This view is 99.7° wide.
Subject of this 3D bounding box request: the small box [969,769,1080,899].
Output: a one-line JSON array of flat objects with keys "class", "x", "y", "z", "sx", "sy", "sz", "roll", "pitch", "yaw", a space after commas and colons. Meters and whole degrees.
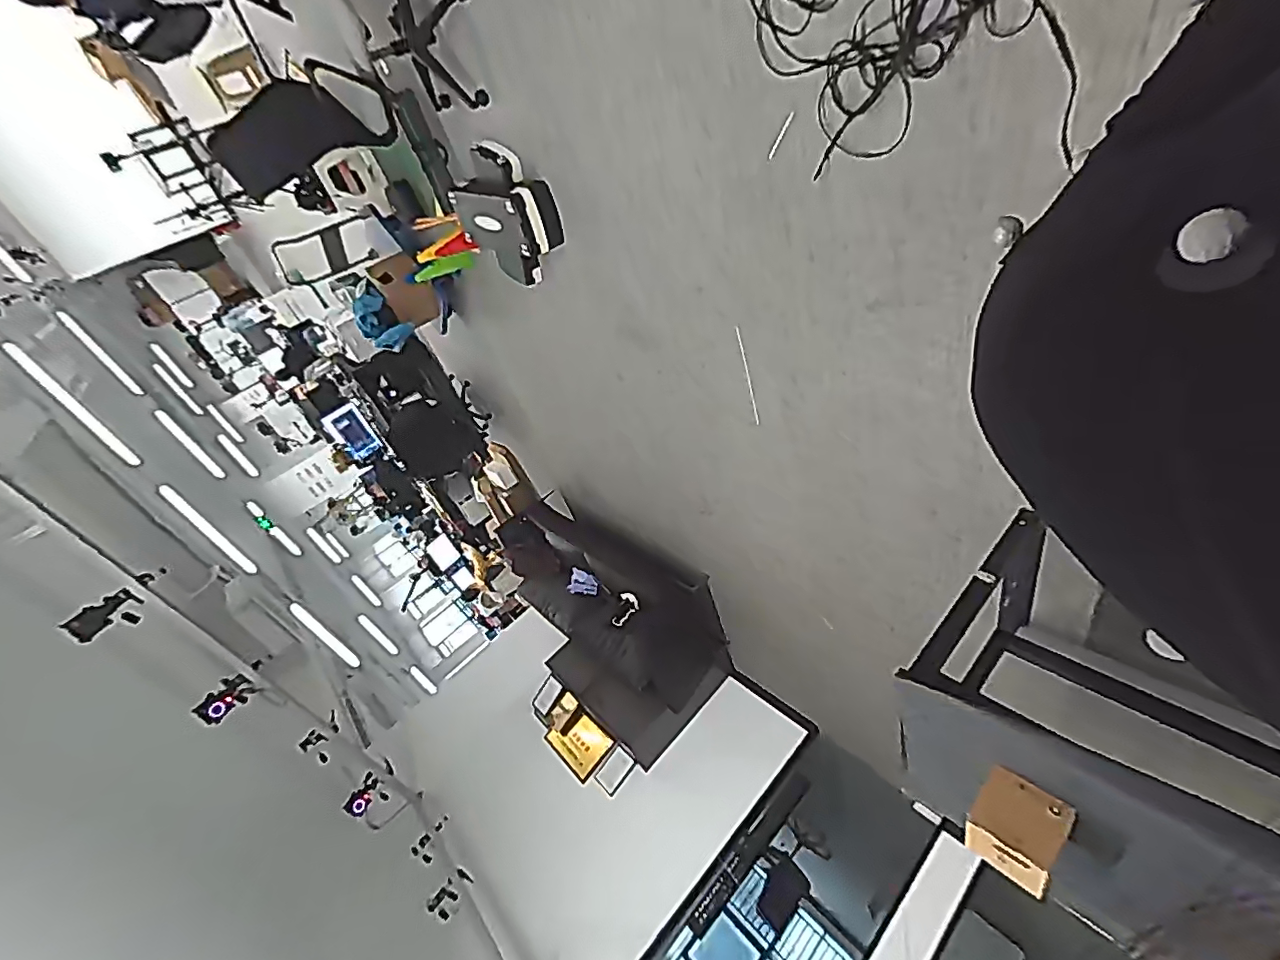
[{"class": "small box", "x": 0.908, "y": 0.830, "z": 1.281, "sx": 0.168, "sy": 0.176, "sz": 0.179, "roll": 23, "pitch": 146, "yaw": 46}]
